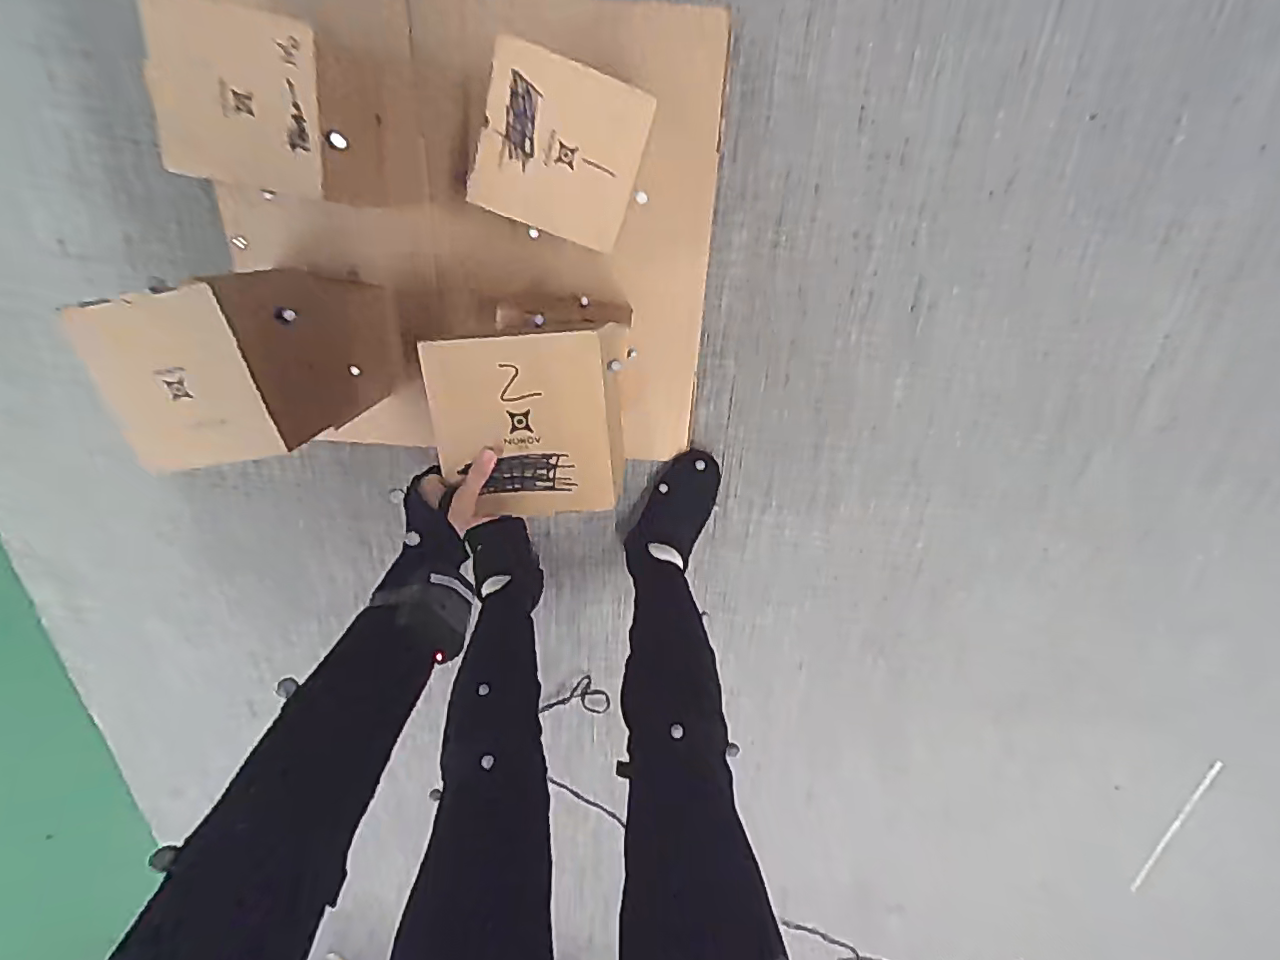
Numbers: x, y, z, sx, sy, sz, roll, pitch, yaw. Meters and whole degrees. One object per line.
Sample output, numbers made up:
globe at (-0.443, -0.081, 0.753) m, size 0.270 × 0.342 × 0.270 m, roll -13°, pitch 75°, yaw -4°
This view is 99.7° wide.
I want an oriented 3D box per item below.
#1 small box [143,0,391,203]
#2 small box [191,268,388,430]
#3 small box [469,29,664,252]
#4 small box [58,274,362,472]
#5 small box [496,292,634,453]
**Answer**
small box at (-0.421, -0.436, 0.642) m, size 0.179 × 0.176 × 0.168 m, roll 10°, pitch 114°, yaw -3°
small box at (-0.469, -0.189, 0.757) m, size 0.168 × 0.176 × 0.179 m, roll 8°, pitch 114°, yaw -4°
small box at (-0.083, -0.390, 0.655) m, size 0.179 × 0.176 × 0.168 m, roll 17°, pitch 114°, yaw -9°
small box at (-0.450, -0.128, 0.604) m, size 0.168 × 0.176 × 0.179 m, roll -7°, pitch 114°, yaw 5°
small box at (-0.099, -0.158, 0.763) m, size 0.168 × 0.176 × 0.179 m, roll 7°, pitch 114°, yaw -3°
